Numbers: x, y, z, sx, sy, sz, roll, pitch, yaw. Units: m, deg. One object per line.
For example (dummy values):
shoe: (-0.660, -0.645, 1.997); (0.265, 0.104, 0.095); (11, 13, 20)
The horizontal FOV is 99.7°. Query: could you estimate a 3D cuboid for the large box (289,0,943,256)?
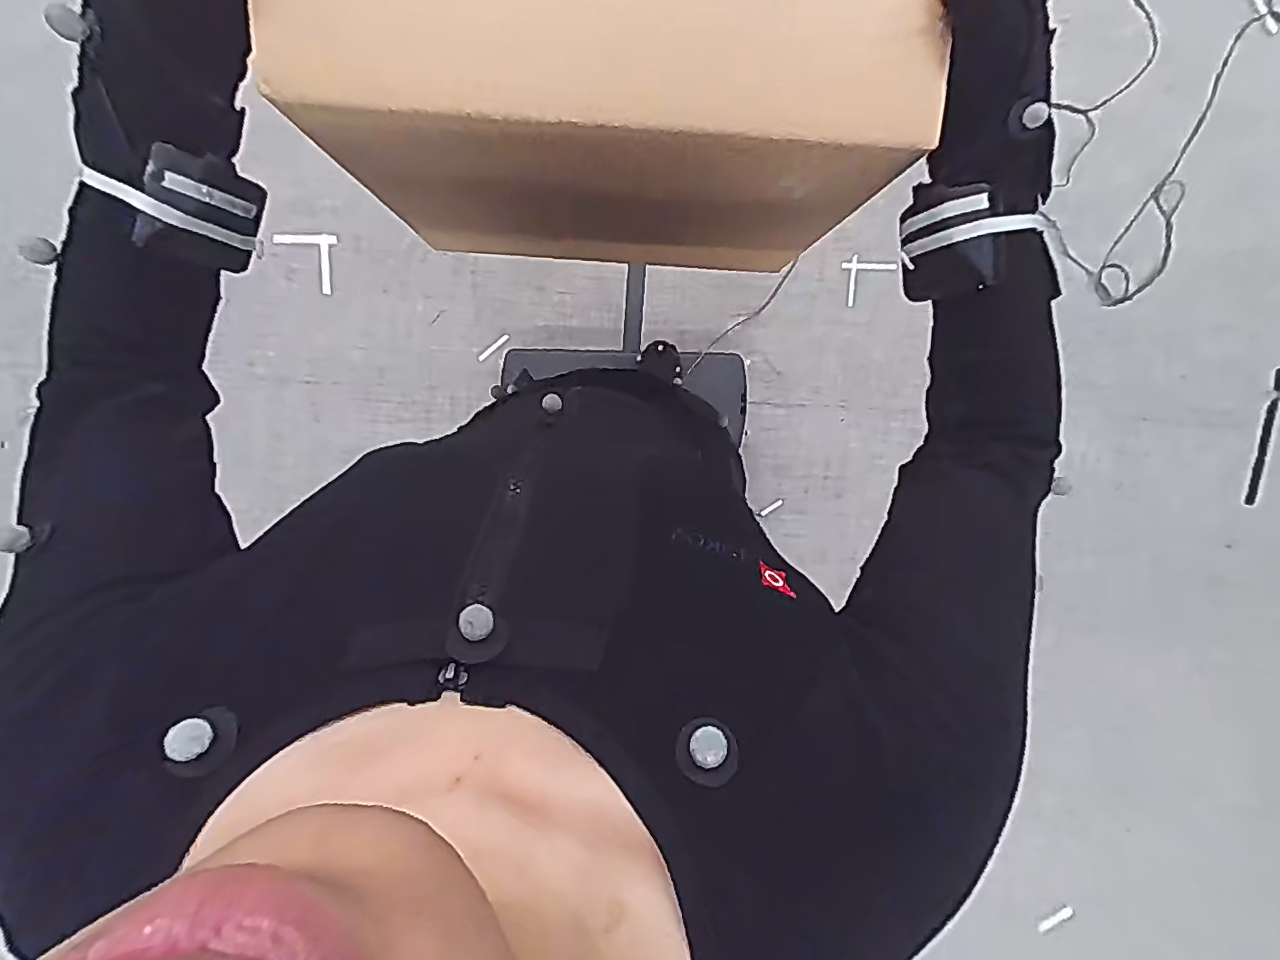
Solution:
large box: (-0.017, -0.398, 0.463); (0.408, 0.320, 0.320); (1, 98, -4)
